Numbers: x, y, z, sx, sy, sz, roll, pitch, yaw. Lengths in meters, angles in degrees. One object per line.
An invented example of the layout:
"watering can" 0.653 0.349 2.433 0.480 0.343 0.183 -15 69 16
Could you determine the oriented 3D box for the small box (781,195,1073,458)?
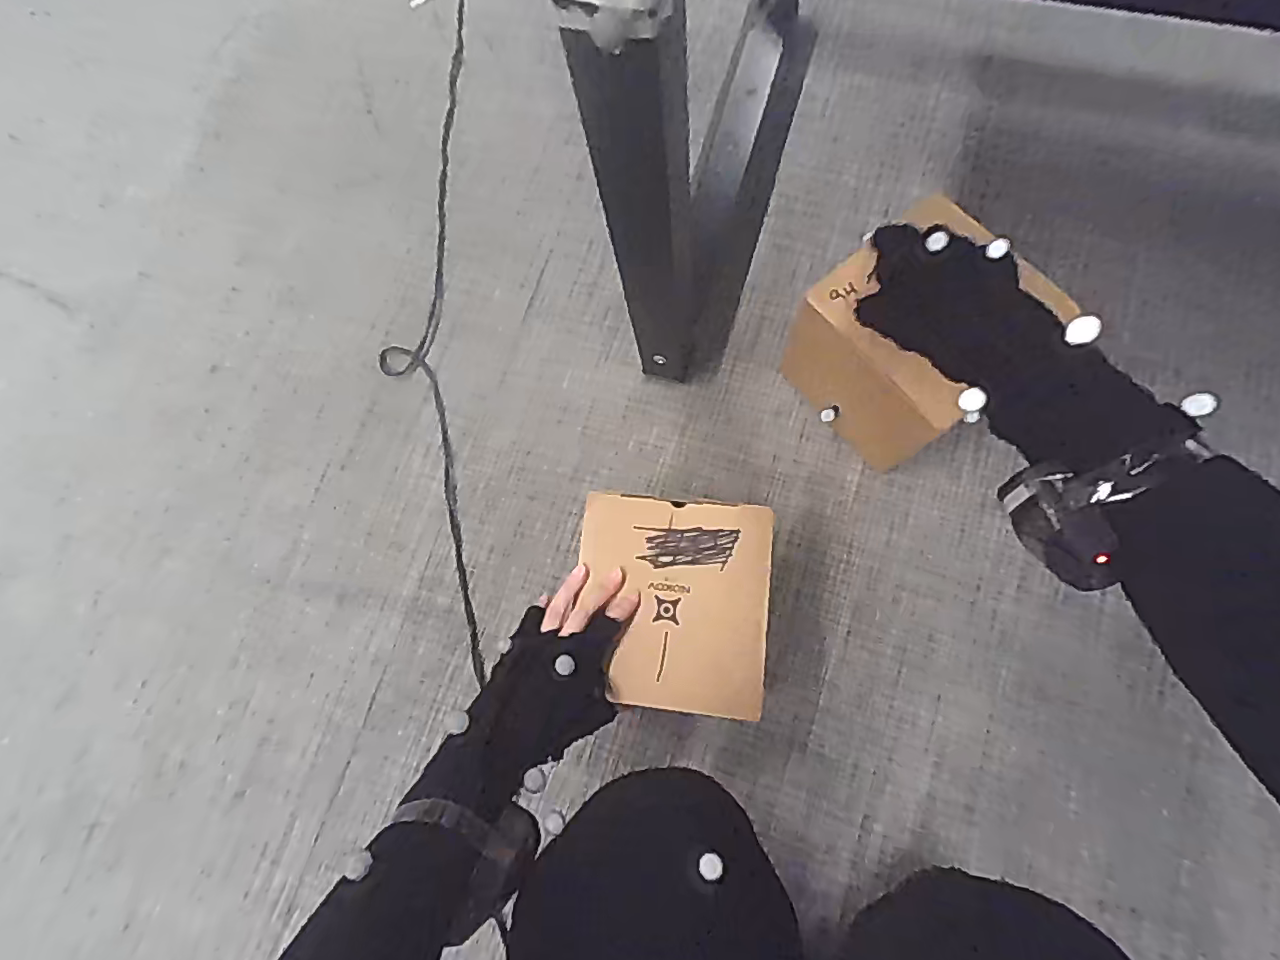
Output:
"small box" 0.275 -0.140 0.567 0.168 0.176 0.179 -39 78 -4
